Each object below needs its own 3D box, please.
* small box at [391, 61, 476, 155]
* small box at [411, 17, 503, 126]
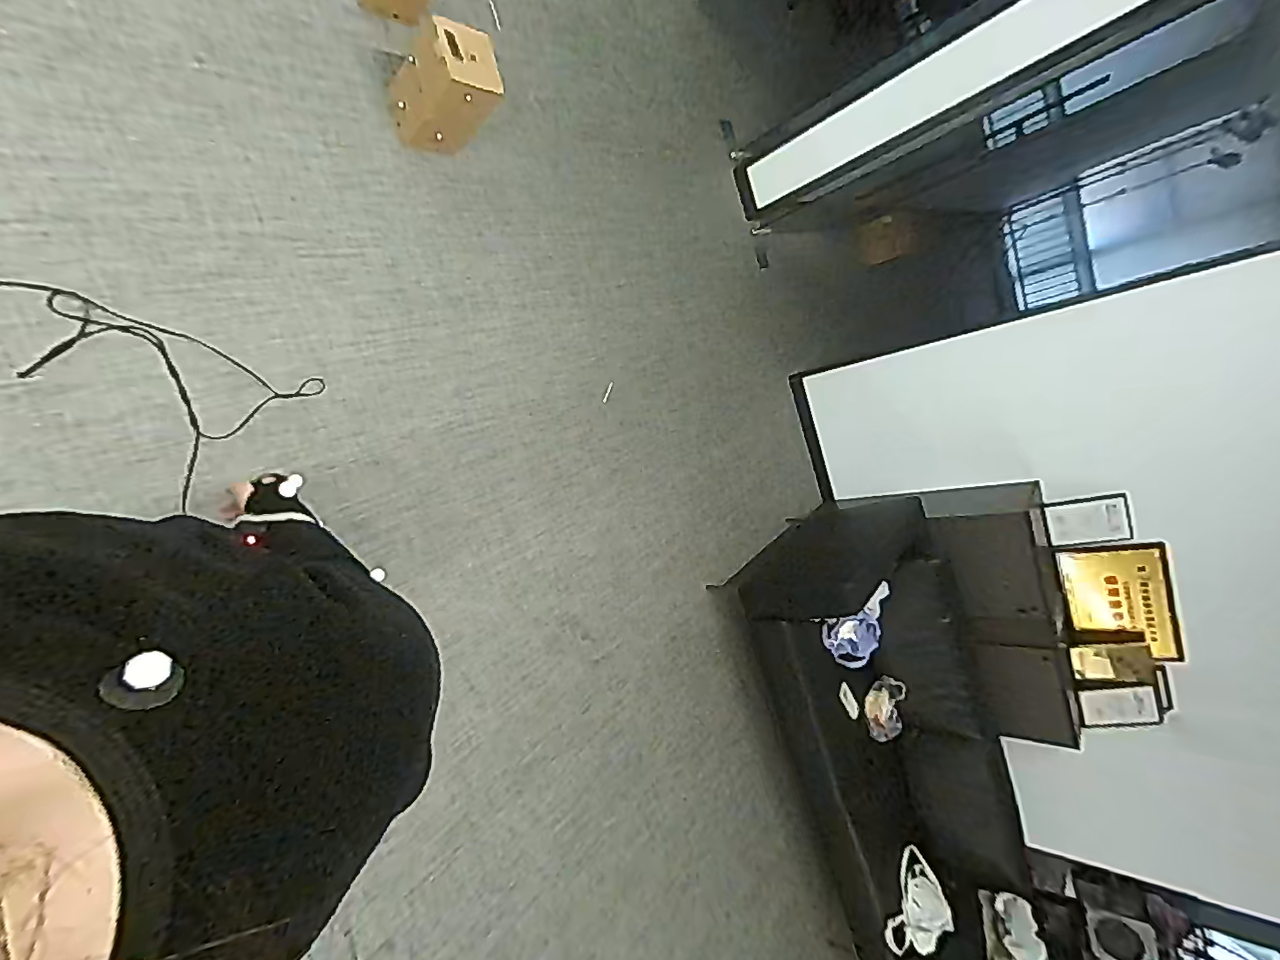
[{"bbox_3d":[-0.638,-1.125,1.652,0.179,0.176,0.168,-24,101,-44],"label":"small box"},{"bbox_3d":[-0.525,-1.144,1.533,0.179,0.176,0.168,-23,100,-46],"label":"small box"}]
